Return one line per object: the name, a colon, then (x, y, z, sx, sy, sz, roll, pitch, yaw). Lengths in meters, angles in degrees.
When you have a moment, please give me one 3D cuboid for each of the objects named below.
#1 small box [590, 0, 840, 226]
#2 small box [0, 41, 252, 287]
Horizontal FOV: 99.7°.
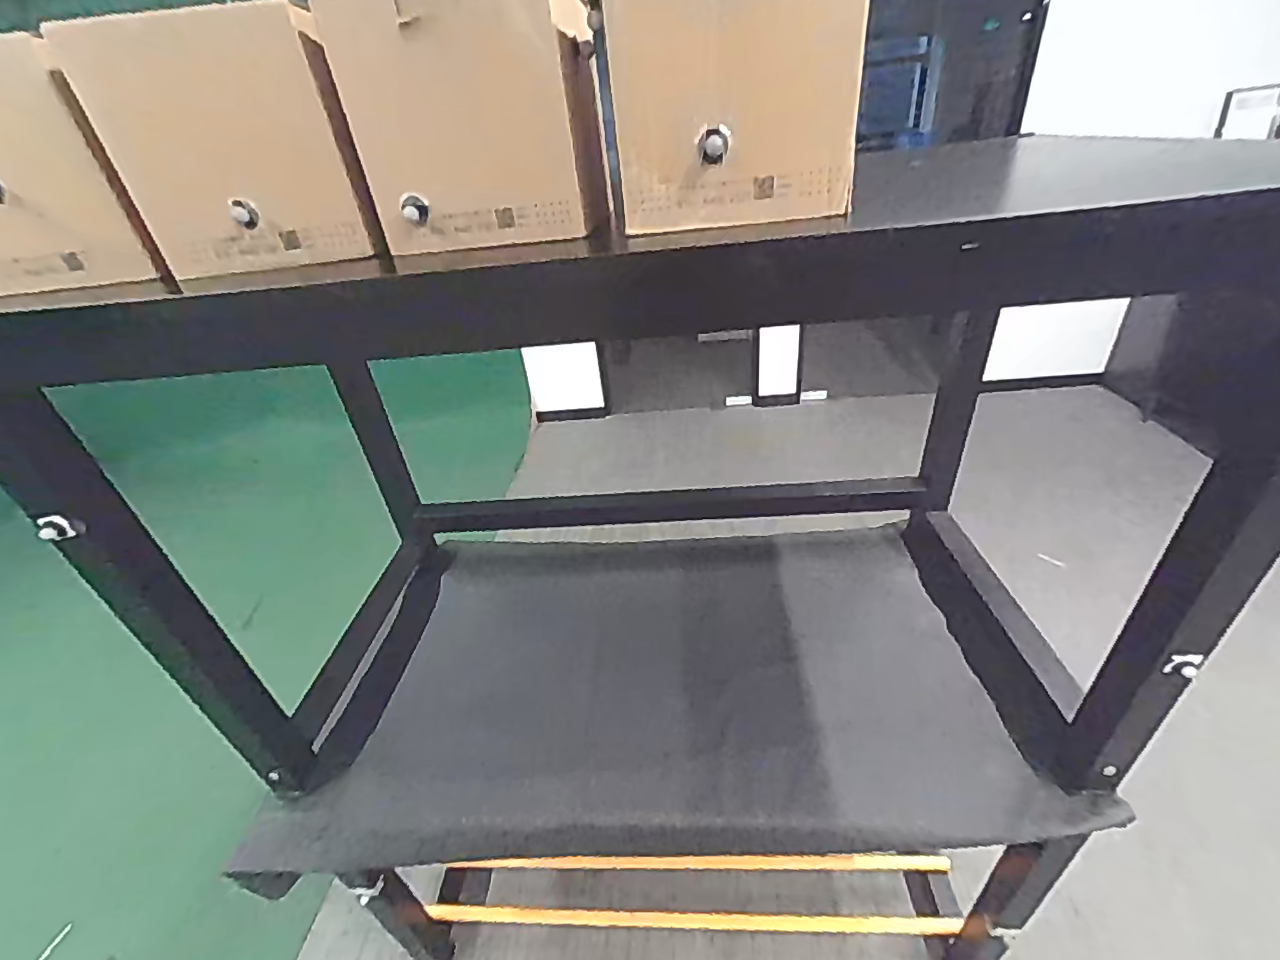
small box: (0.056, -0.313, 0.443, 0.168, 0.176, 0.179, -3, 33, 6)
small box: (-0.515, -0.283, 0.506, 0.168, 0.176, 0.179, -6, 31, -1)
